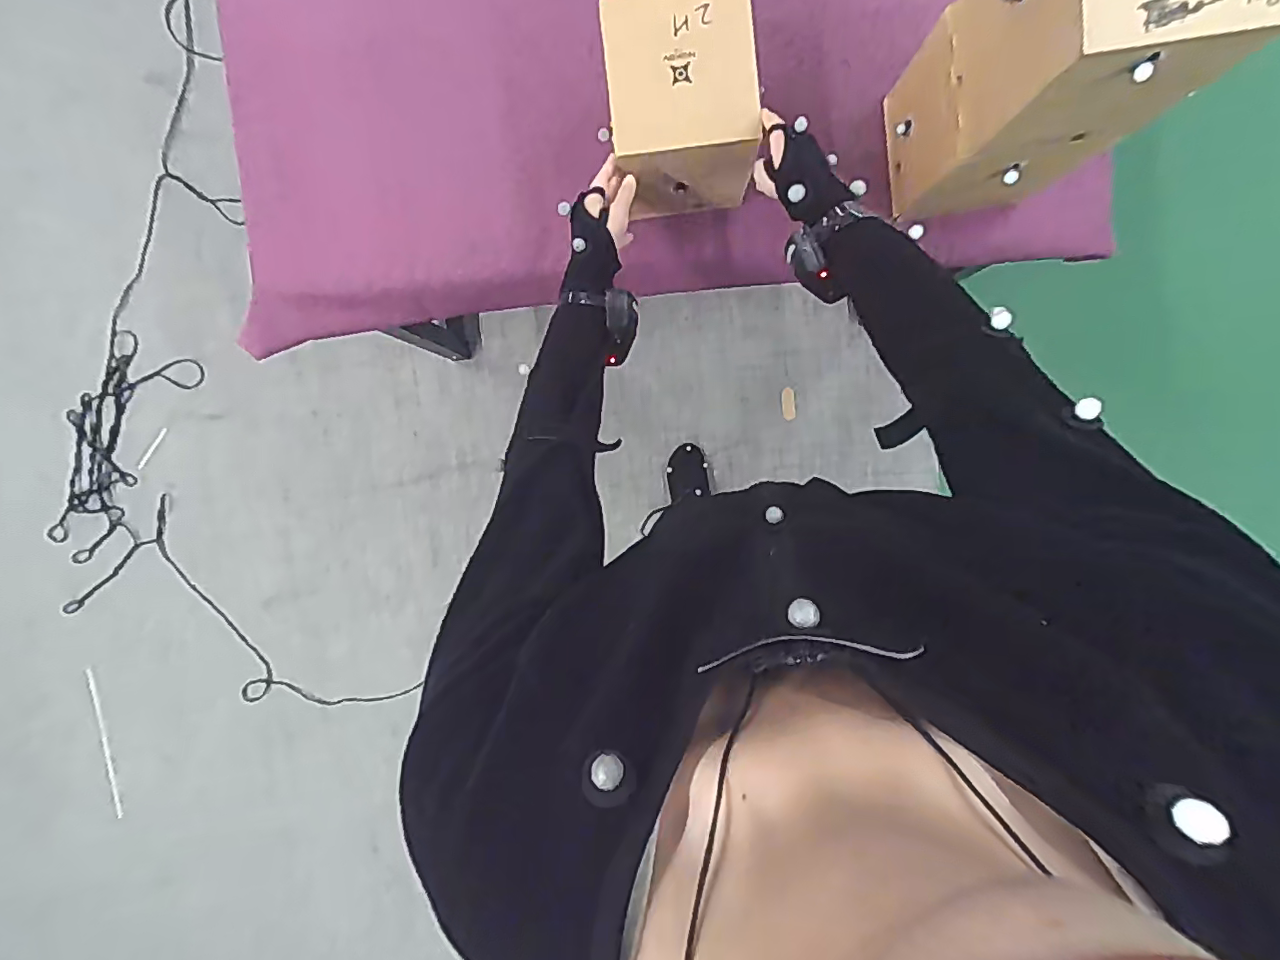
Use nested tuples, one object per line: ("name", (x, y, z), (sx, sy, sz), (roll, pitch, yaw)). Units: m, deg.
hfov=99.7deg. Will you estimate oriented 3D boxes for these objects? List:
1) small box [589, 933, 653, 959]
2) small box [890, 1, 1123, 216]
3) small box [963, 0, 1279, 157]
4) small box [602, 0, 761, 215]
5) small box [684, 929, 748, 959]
("small box", (-0.046, 1.400, 1.486), (0.179, 0.176, 0.168), (-15, 92, 4))
("small box", (0.431, -0.446, 0.659), (0.179, 0.176, 0.168), (-7, 94, 5))
("small box", (0.423, -0.437, 0.495), (0.168, 0.176, 0.179), (-6, 93, 5))
("small box", (0.051, -0.454, 0.677), (0.168, 0.176, 0.179), (-6, 92, 3))
("small box", (0.217, 1.370, 1.469), (0.179, 0.176, 0.168), (-11, 91, 5))
